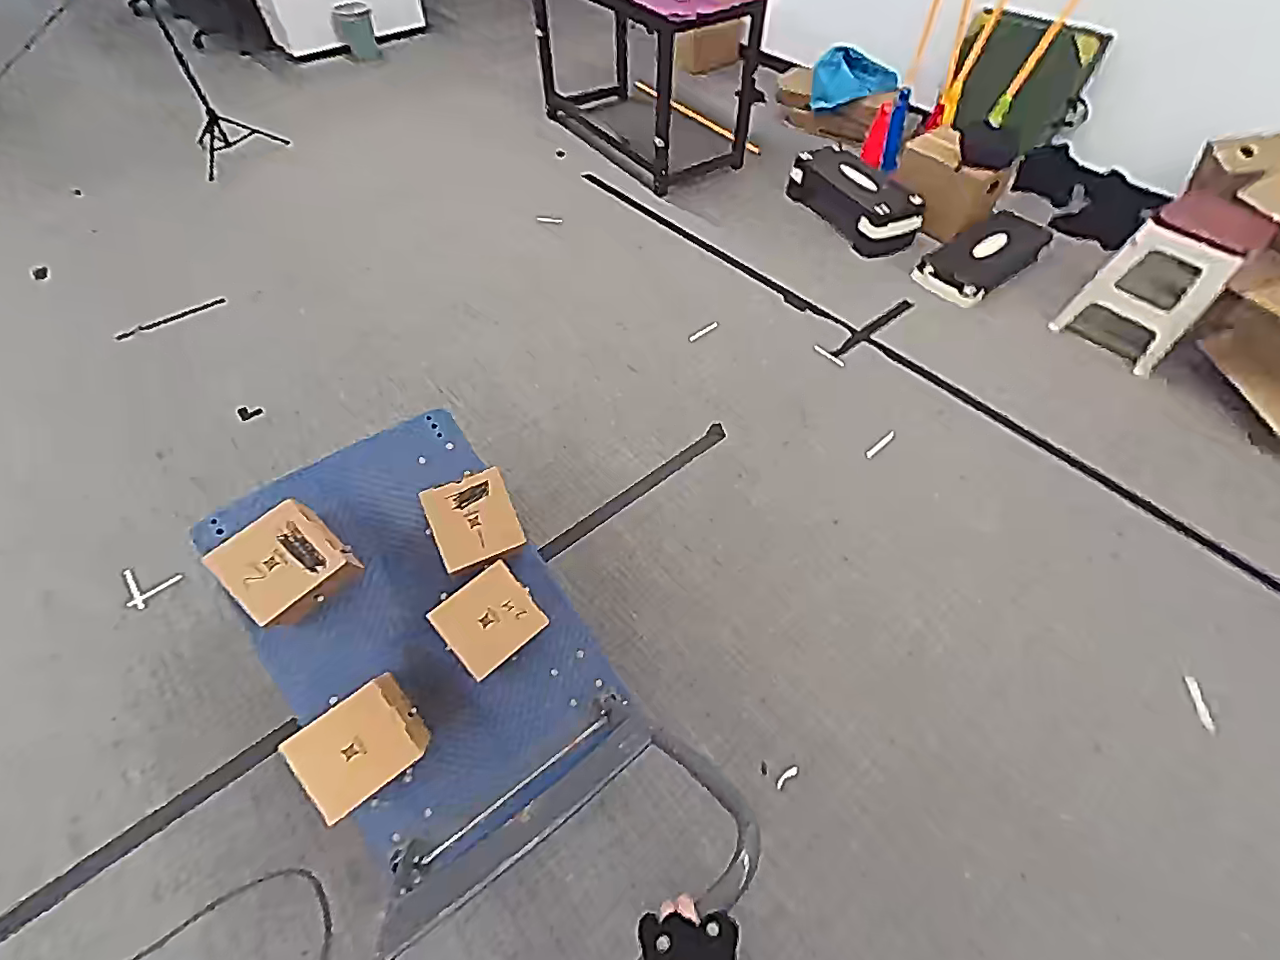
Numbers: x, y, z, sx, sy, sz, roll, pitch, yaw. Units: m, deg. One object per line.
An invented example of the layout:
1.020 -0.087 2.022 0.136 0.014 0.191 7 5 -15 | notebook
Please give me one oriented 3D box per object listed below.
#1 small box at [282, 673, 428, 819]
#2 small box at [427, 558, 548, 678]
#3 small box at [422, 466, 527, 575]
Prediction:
-0.527 0.490 1.028 0.179 0.176 0.168 -34 87 -22 | small box
-0.315 0.288 1.137 0.179 0.176 0.168 -38 88 -20 | small box
-0.358 0.093 1.176 0.168 0.176 0.179 -21 83 -19 | small box
